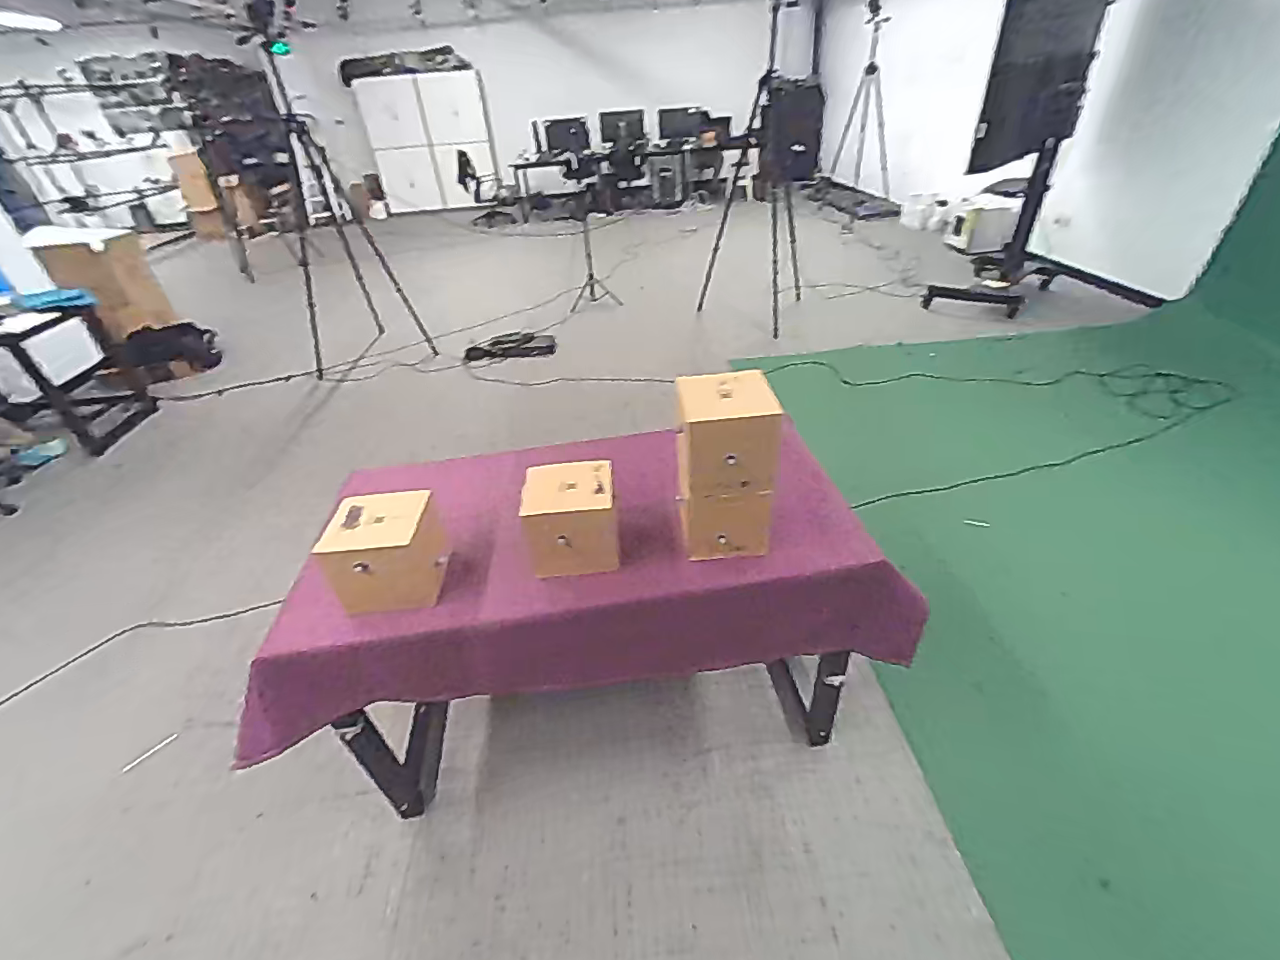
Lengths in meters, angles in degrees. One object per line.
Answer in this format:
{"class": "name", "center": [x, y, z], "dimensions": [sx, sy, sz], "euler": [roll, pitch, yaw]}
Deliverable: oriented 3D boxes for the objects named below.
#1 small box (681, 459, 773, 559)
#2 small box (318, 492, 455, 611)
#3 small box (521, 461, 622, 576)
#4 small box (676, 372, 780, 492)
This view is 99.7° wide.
{"class": "small box", "center": [0.175, 0.044, 1.137], "dimensions": [0.168, 0.176, 0.179], "euler": [-5, 36, 1]}
{"class": "small box", "center": [-0.492, 0.145, 1.080], "dimensions": [0.179, 0.176, 0.168], "euler": [-5, 36, -1]}
{"class": "small box", "center": [-0.134, 0.082, 1.122], "dimensions": [0.179, 0.176, 0.168], "euler": [-6, 36, 0]}
{"class": "small box", "center": [0.163, -0.089, 1.040], "dimensions": [0.168, 0.176, 0.179], "euler": [-5, 36, -1]}
